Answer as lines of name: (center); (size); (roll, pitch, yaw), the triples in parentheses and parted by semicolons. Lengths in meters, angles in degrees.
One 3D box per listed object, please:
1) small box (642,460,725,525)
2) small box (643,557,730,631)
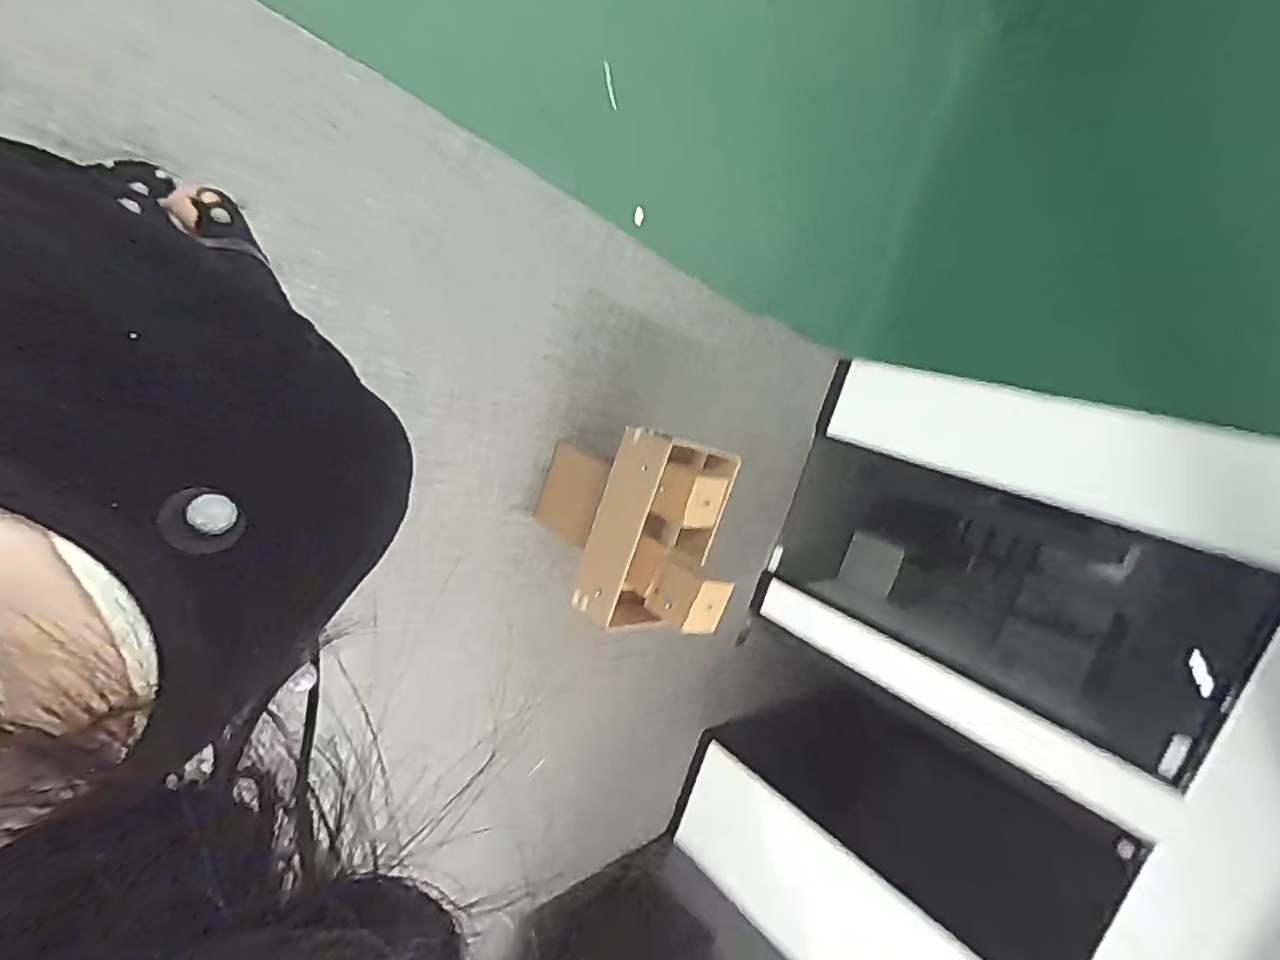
small box: (0.139, 0.040, 1.751); (0.179, 0.176, 0.168); (5, 106, -47)
small box: (0.140, 0.350, 1.664); (0.179, 0.176, 0.168); (18, 97, -49)
